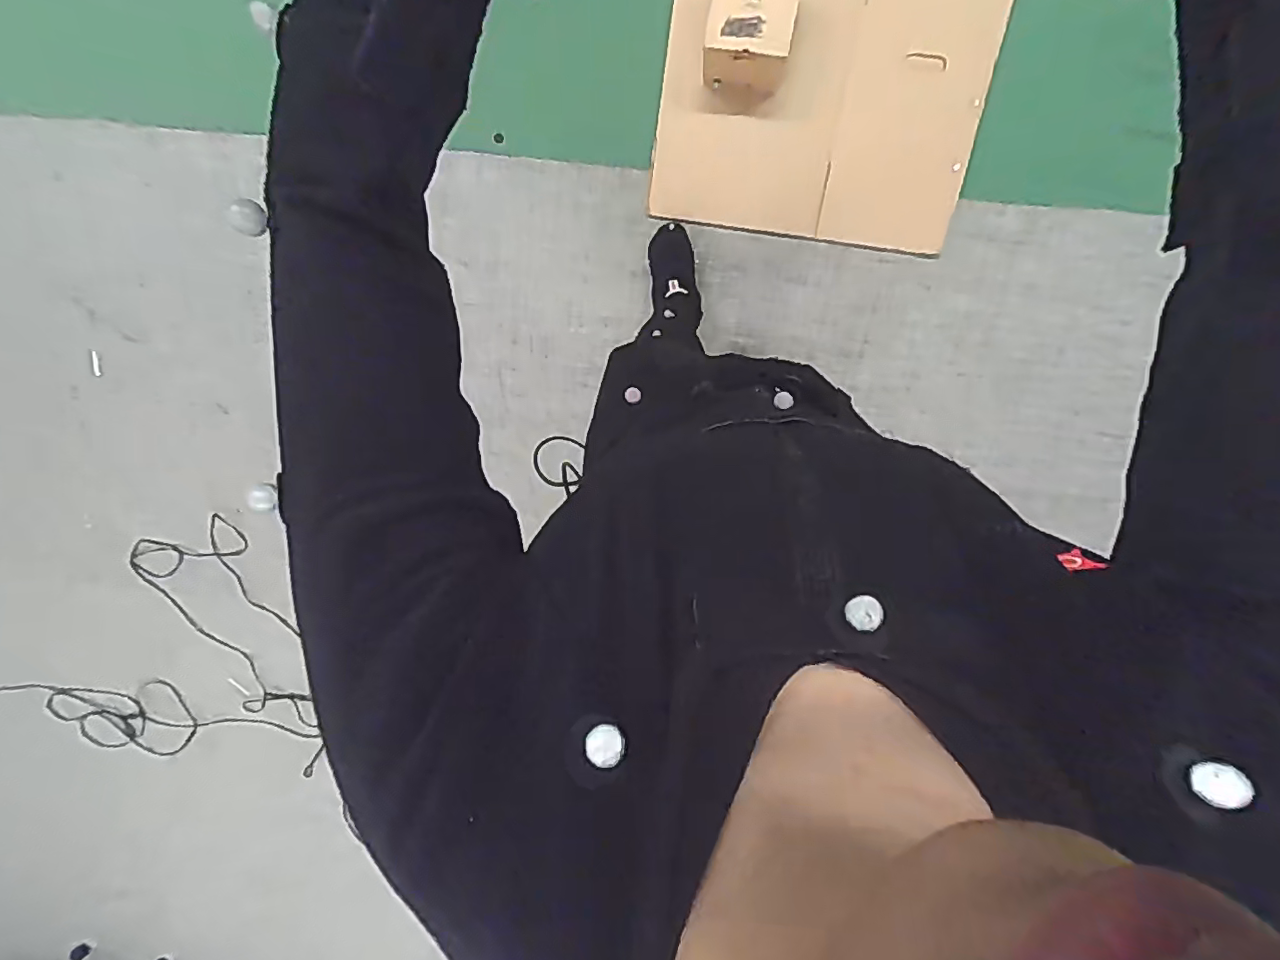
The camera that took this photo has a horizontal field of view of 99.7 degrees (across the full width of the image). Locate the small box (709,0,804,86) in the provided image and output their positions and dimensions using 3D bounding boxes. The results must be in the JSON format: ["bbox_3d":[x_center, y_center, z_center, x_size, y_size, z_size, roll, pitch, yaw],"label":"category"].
[{"bbox_3d":[0.236,-0.927,1.083,0.168,0.176,0.179,11,107,3],"label":"small box"}]
